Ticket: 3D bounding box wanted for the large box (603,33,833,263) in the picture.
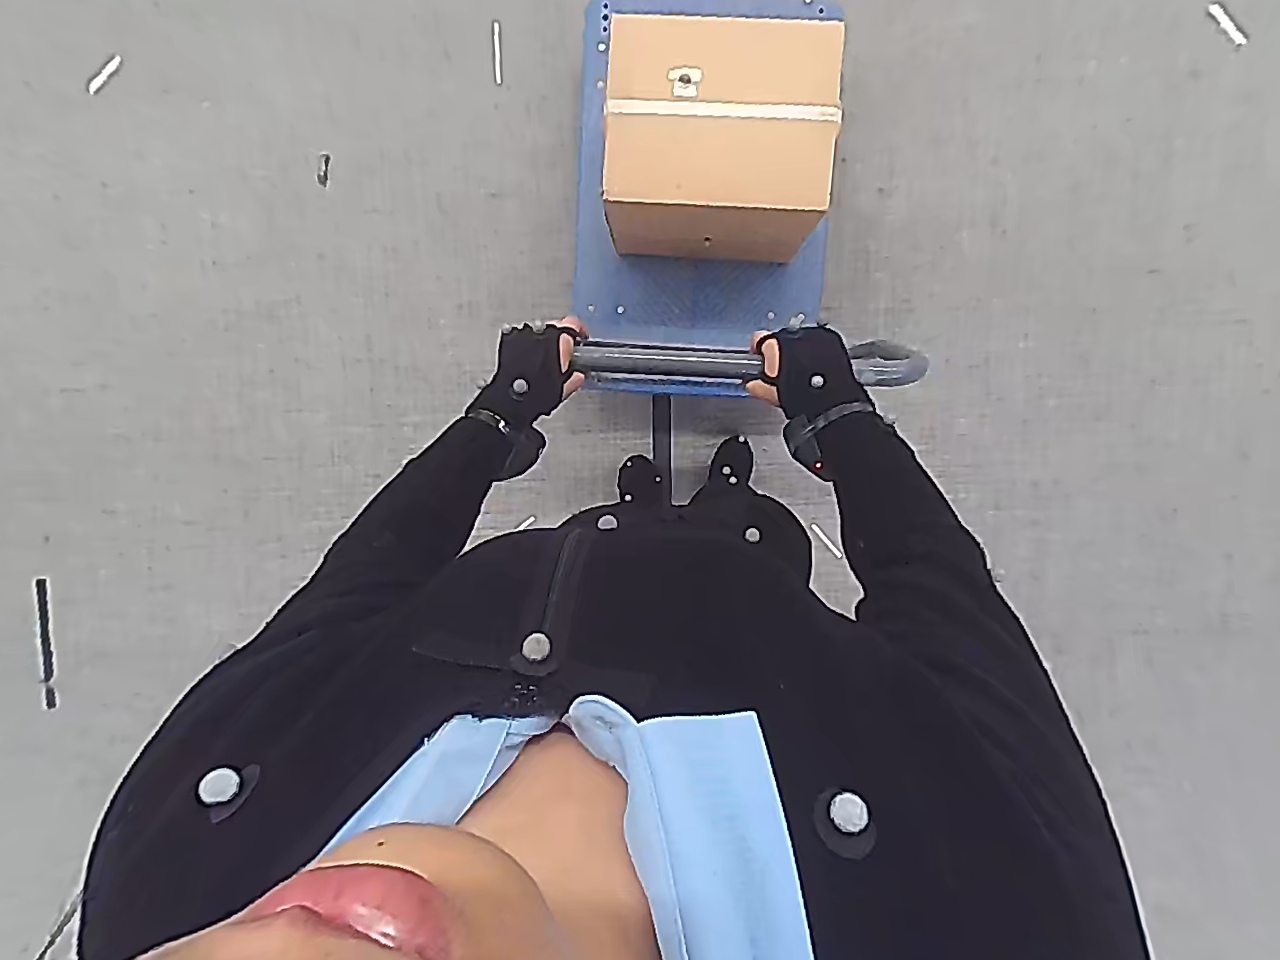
[{"bbox_3d":[0.147,-0.653,1.119,0.408,0.320,0.320,4,95,3],"label":"large box"}]
